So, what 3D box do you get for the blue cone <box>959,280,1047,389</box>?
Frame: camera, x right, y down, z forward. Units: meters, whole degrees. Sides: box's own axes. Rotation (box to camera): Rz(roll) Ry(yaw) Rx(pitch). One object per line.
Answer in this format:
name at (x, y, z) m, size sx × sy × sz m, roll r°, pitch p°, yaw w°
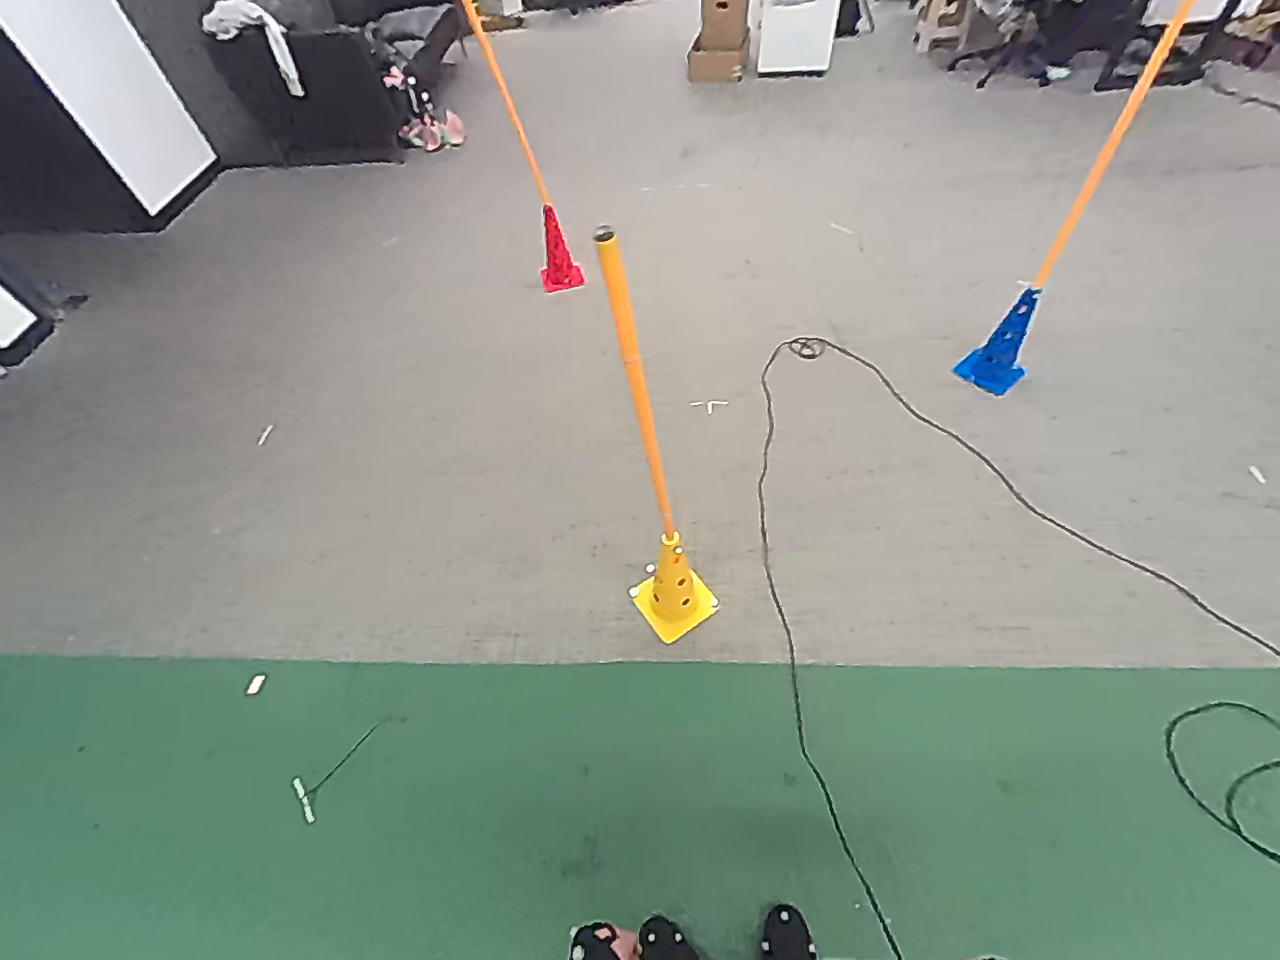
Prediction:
blue cone at (1.310, -0.527, 1.904) m, size 0.193 × 0.380 × 0.192 m, roll -37°, pitch 57°, yaw -23°
